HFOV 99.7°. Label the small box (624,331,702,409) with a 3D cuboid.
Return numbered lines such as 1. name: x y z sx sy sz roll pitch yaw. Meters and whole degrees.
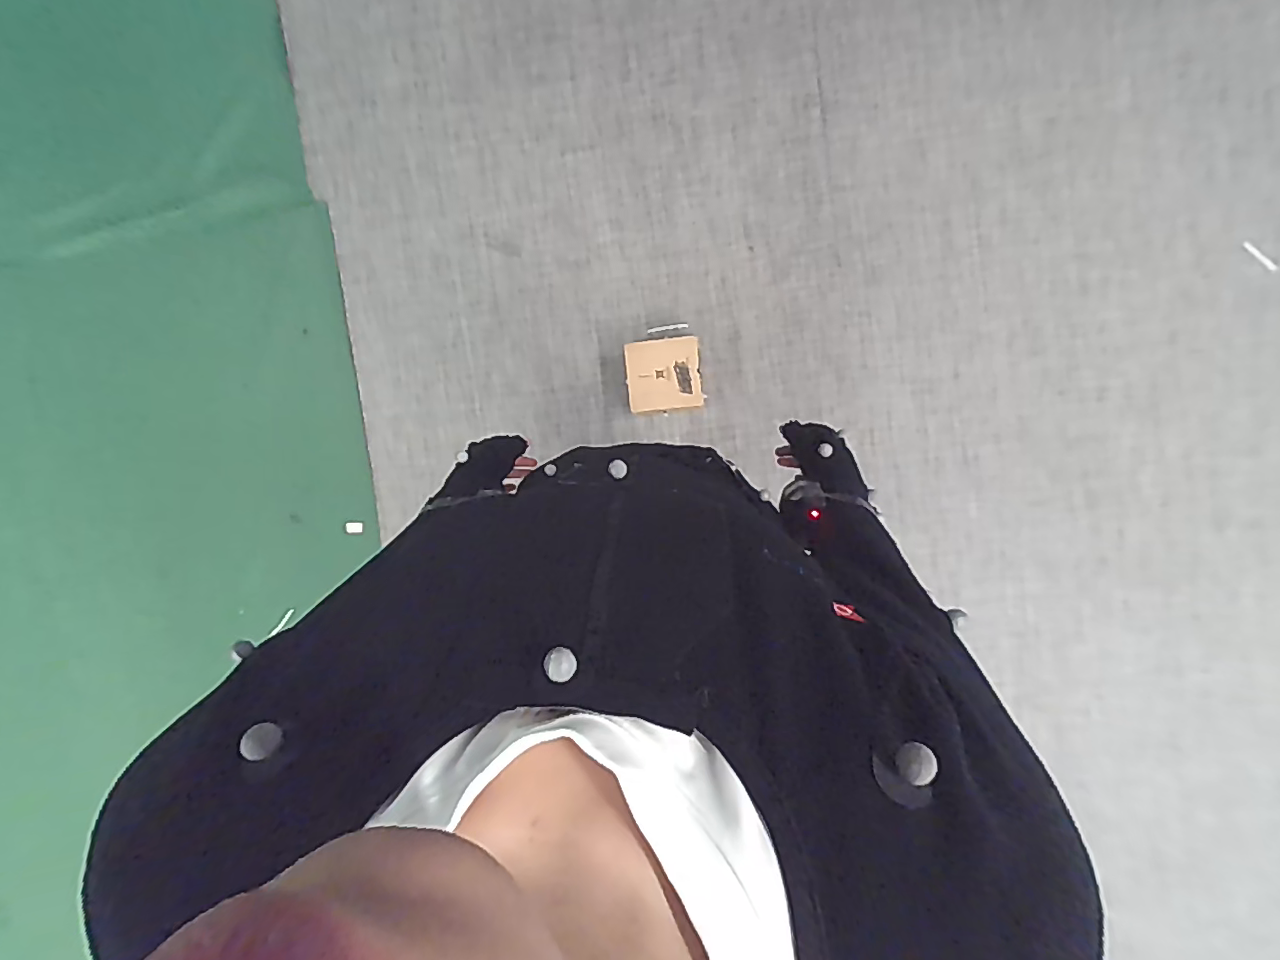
1. small box: 0.062 -0.270 1.359 0.179 0.176 0.168 -5 93 7
